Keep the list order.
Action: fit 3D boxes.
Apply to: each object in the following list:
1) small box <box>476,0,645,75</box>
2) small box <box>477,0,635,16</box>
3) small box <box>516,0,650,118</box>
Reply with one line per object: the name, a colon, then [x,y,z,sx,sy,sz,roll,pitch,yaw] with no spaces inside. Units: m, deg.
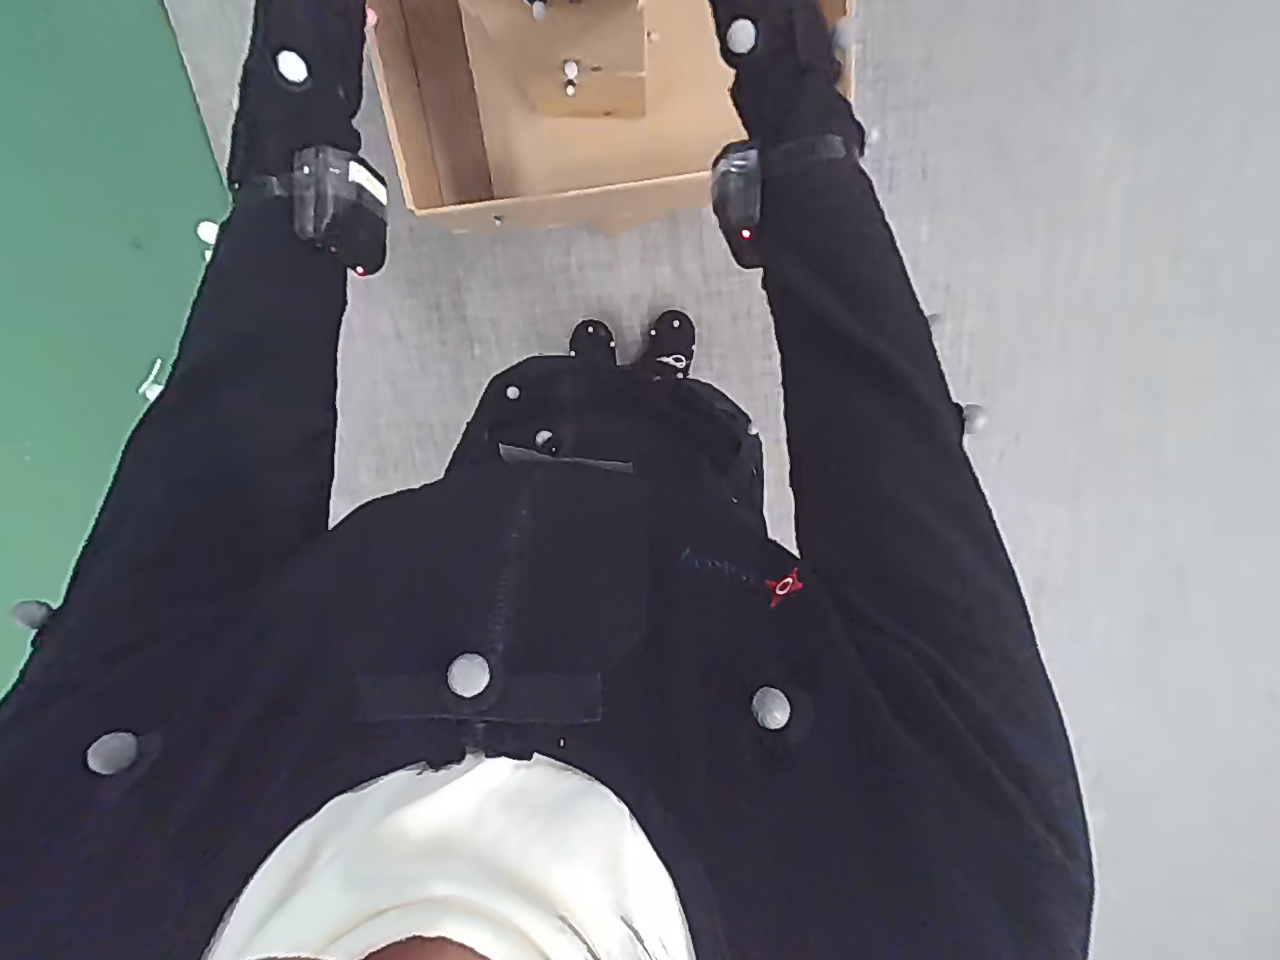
small box: [-0.080,-0.565,0.573,0.168,0.176,0.179,-1,109,1]
small box: [-0.085,-0.510,0.421,0.168,0.176,0.179,-1,110,2]
small box: [-0.072,-0.618,0.728,0.168,0.176,0.179,1,108,1]
